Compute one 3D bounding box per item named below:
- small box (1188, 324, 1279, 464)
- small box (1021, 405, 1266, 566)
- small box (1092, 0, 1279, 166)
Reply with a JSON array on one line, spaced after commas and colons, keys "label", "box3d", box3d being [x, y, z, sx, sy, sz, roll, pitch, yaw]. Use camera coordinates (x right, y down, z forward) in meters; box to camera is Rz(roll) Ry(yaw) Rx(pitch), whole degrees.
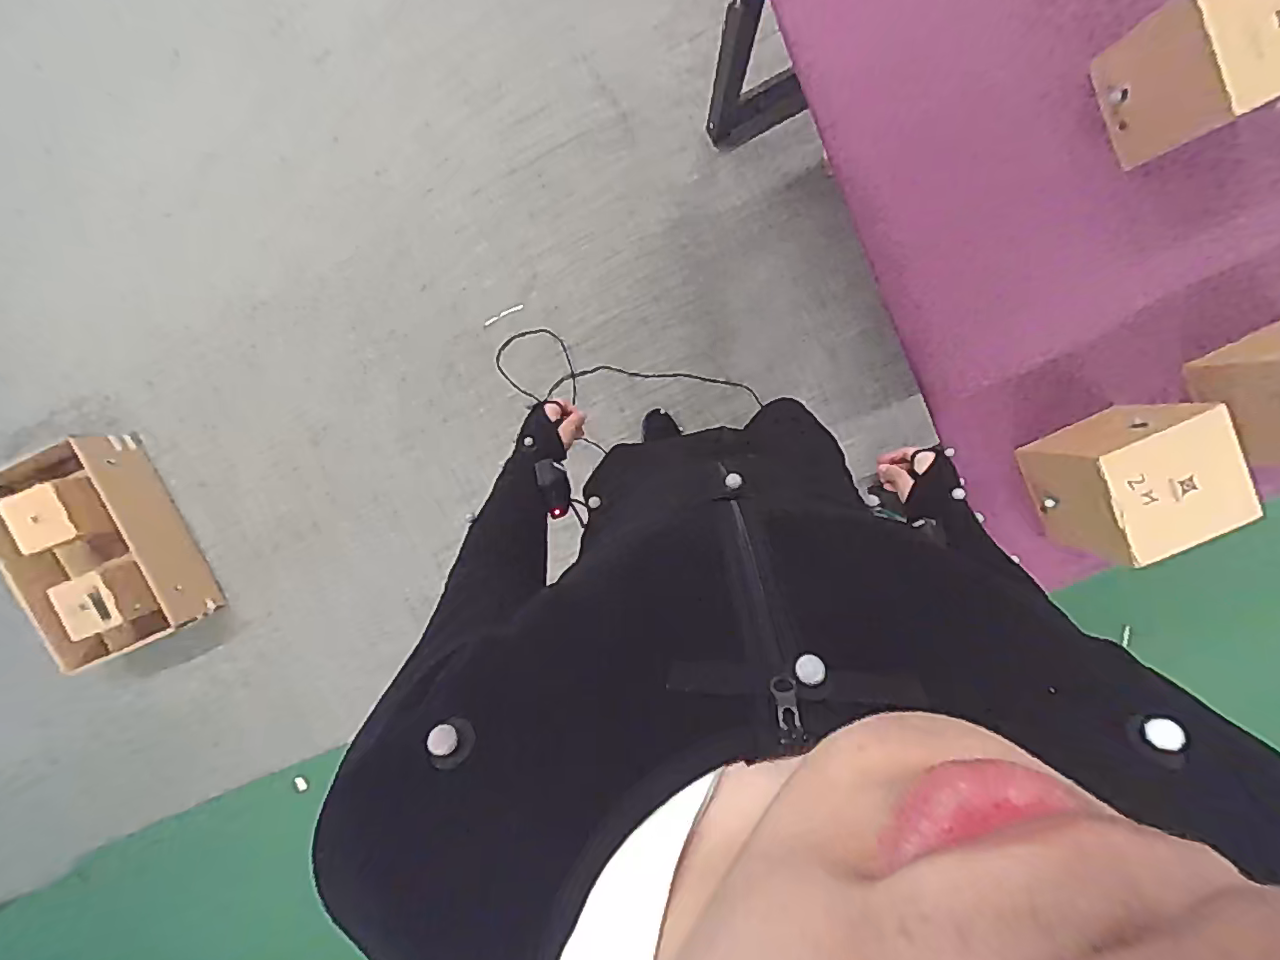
[{"label": "small box", "box3d": [0.957, -0.131, 0.763, 0.179, 0.176, 0.168, -26, 95, 5]}, {"label": "small box", "box3d": [0.713, -0.001, 0.786, 0.179, 0.176, 0.168, -24, 95, 4]}, {"label": "small box", "box3d": [0.764, -0.560, 0.712, 0.179, 0.176, 0.168, -25, 96, 6]}]
